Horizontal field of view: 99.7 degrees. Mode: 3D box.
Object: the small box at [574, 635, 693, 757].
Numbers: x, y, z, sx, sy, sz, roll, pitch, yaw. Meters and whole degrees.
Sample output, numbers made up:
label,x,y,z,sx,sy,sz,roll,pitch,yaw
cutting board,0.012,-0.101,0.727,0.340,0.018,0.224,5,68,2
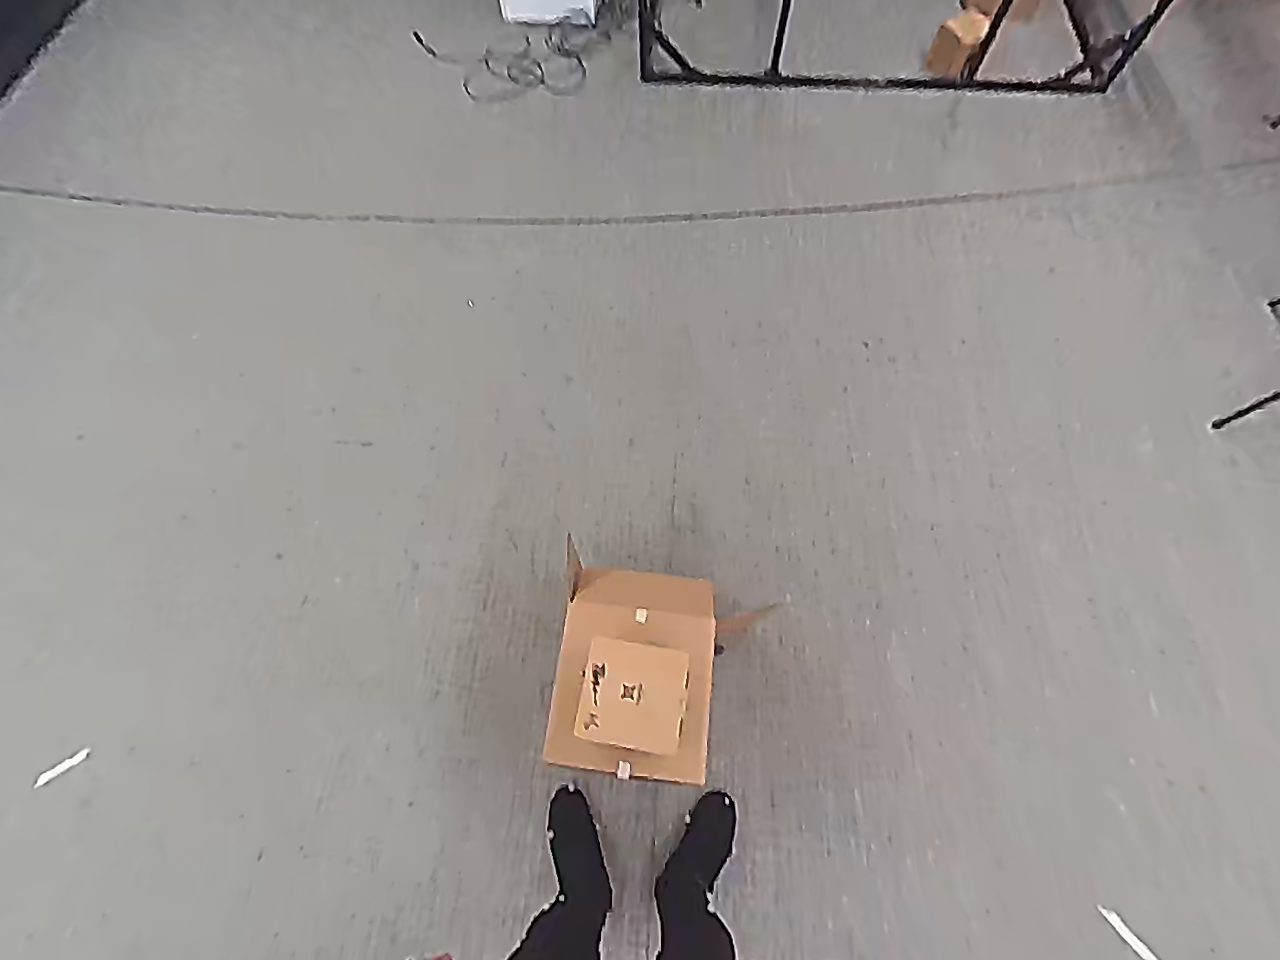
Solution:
label,x,y,z,sx,sy,sz,roll,pitch,yaw
small box,-0.008,0.384,0.972,0.179,0.176,0.168,9,68,5
